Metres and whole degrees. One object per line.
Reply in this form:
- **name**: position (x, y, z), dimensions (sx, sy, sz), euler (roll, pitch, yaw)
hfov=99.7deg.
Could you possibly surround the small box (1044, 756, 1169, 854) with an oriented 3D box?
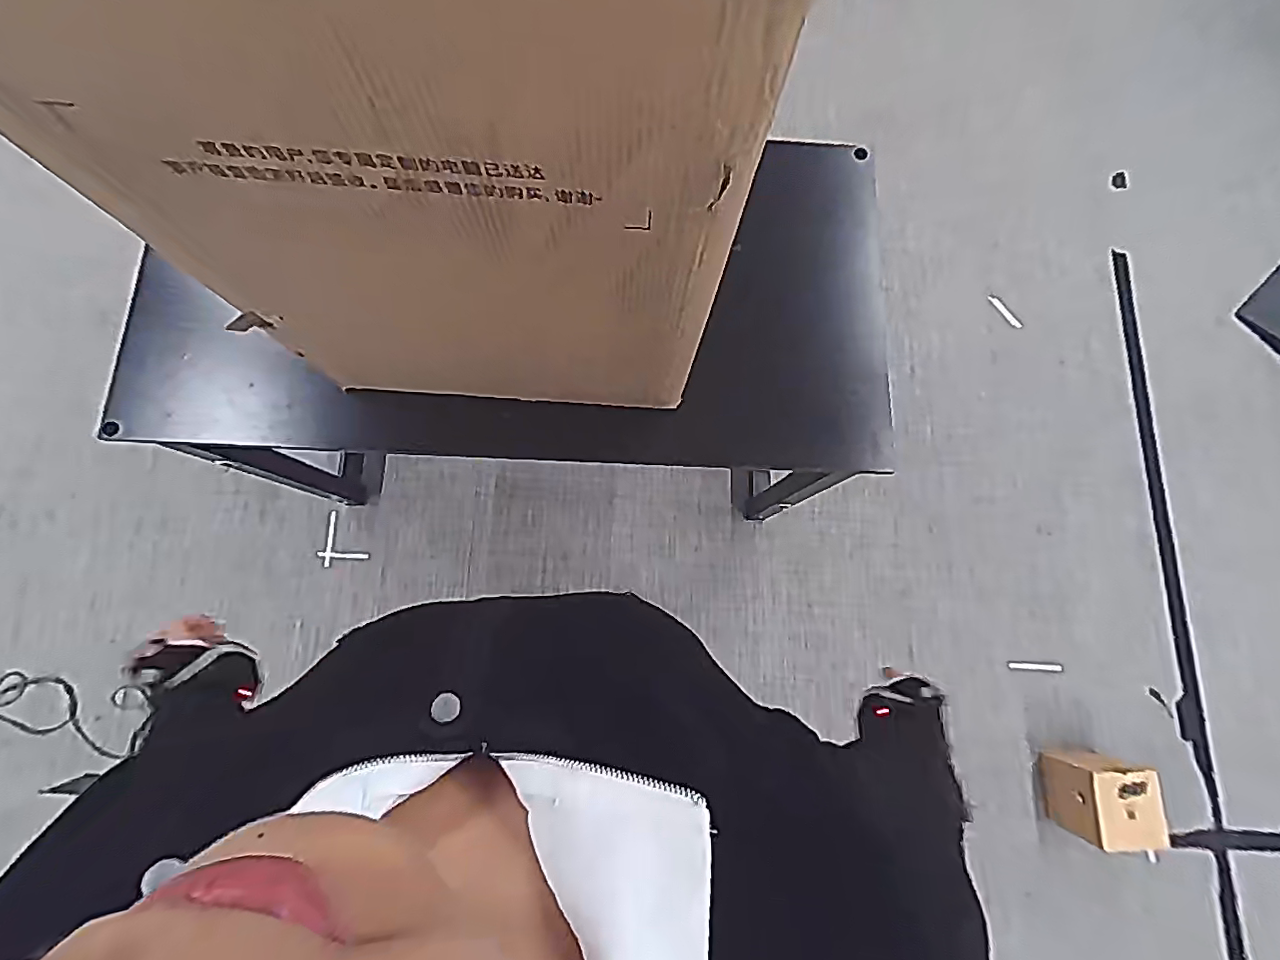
- **small box**: position (1.168, 0.812, 1.371), dimensions (0.168, 0.176, 0.179), euler (0, 79, -2)
